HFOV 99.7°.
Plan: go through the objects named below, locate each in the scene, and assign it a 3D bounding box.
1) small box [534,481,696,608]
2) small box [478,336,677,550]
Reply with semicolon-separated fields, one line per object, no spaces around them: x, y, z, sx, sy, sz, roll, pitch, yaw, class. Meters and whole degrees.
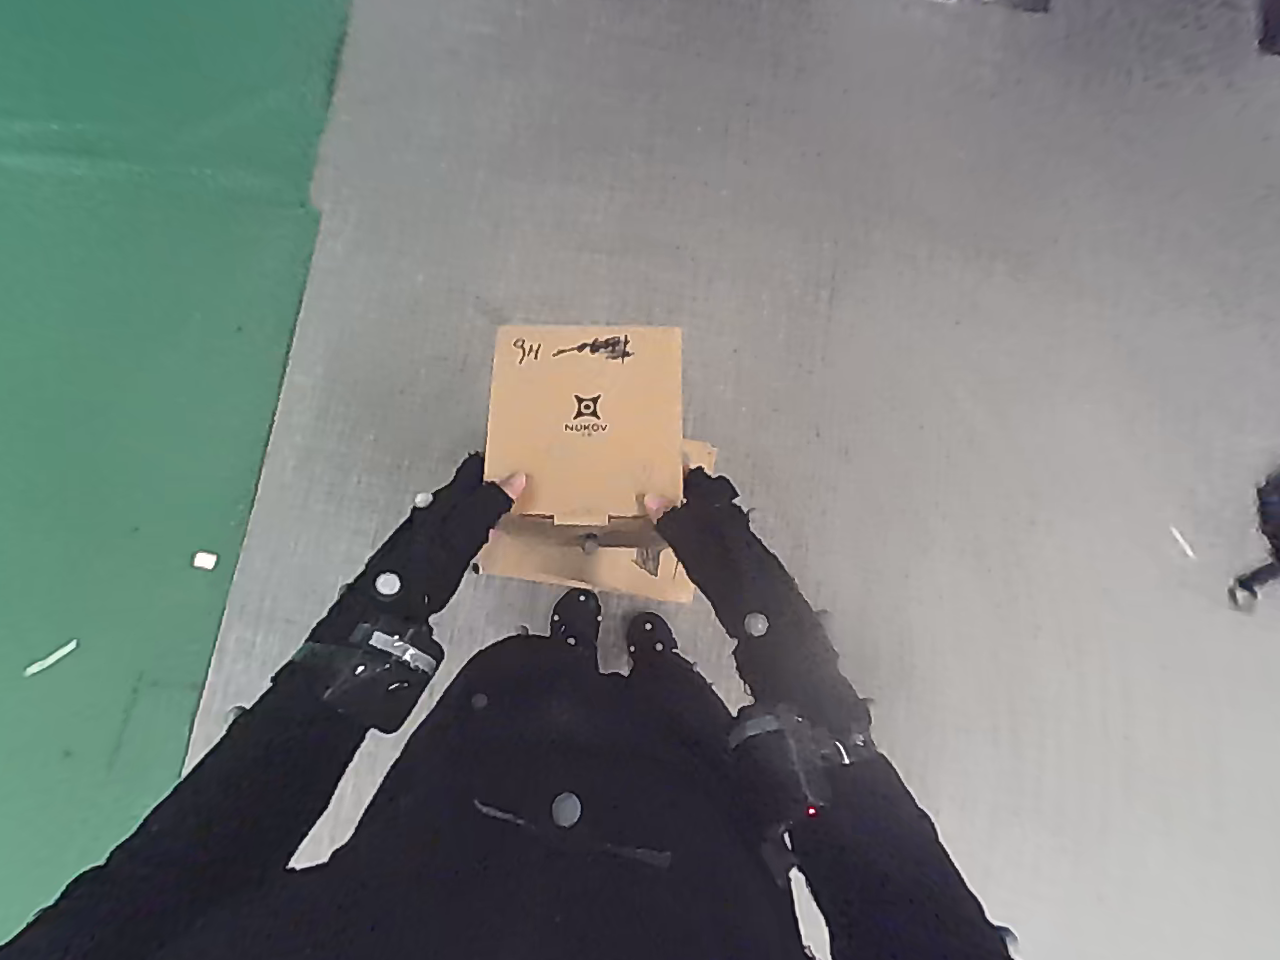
-0.032;0.071;0.768;0.179;0.176;0.168;14;83;0;small box
-0.049;-0.024;0.533;0.168;0.176;0.179;0;77;0;small box
